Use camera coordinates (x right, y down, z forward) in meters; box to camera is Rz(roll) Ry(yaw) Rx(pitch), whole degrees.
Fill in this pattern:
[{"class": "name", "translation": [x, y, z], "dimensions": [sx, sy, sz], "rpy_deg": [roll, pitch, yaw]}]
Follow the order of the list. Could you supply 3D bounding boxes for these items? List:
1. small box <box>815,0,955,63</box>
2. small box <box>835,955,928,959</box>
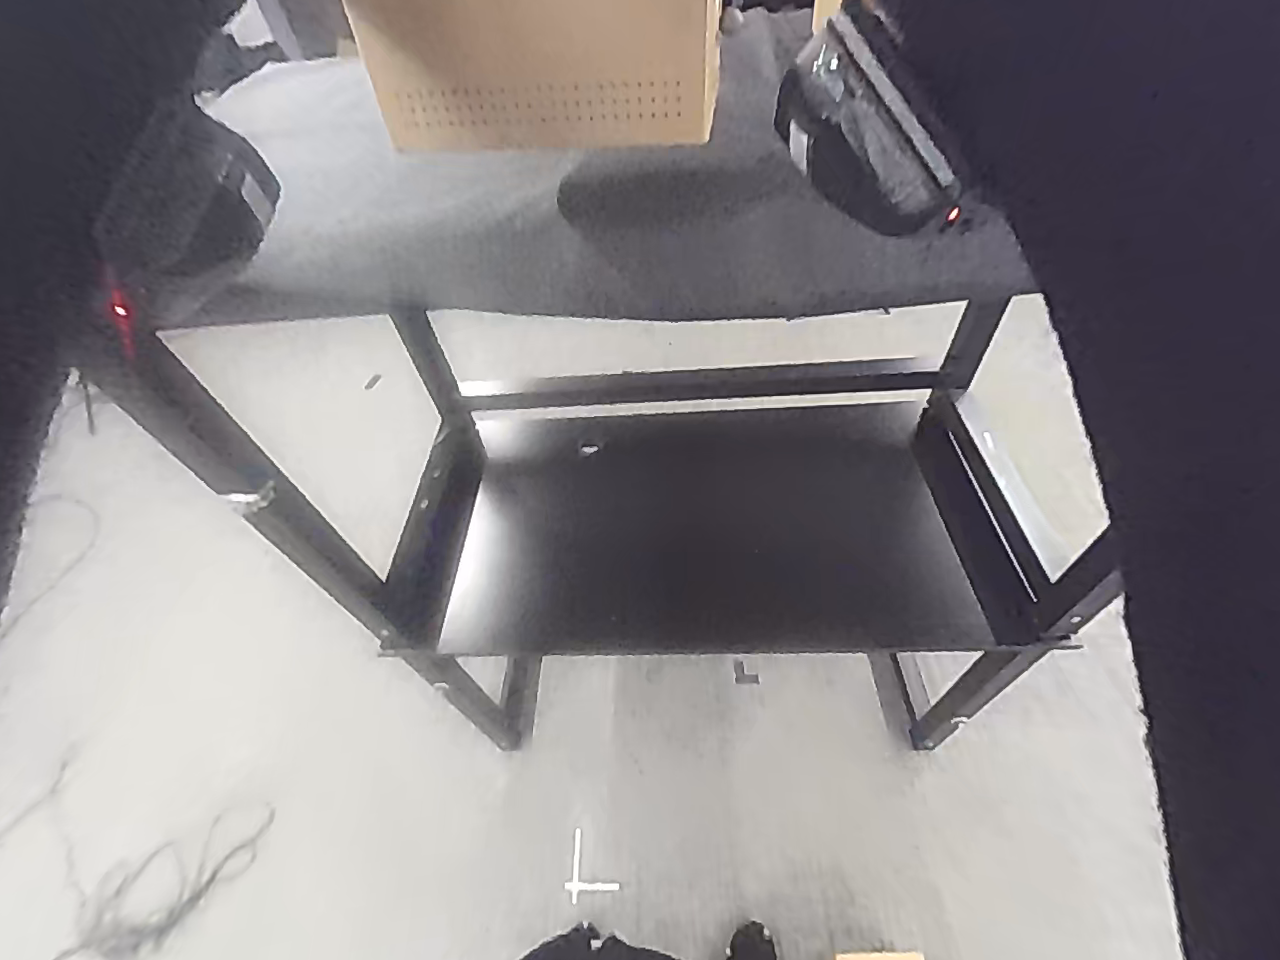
[{"class": "small box", "translation": [0.281, -0.547, 0.551], "dimensions": [0.168, 0.176, 0.179], "rpy_deg": [0, 49, 7]}, {"class": "small box", "translation": [0.496, 1.058, 1.075], "dimensions": [0.179, 0.176, 0.168], "rpy_deg": [-5, 49, 4]}]
